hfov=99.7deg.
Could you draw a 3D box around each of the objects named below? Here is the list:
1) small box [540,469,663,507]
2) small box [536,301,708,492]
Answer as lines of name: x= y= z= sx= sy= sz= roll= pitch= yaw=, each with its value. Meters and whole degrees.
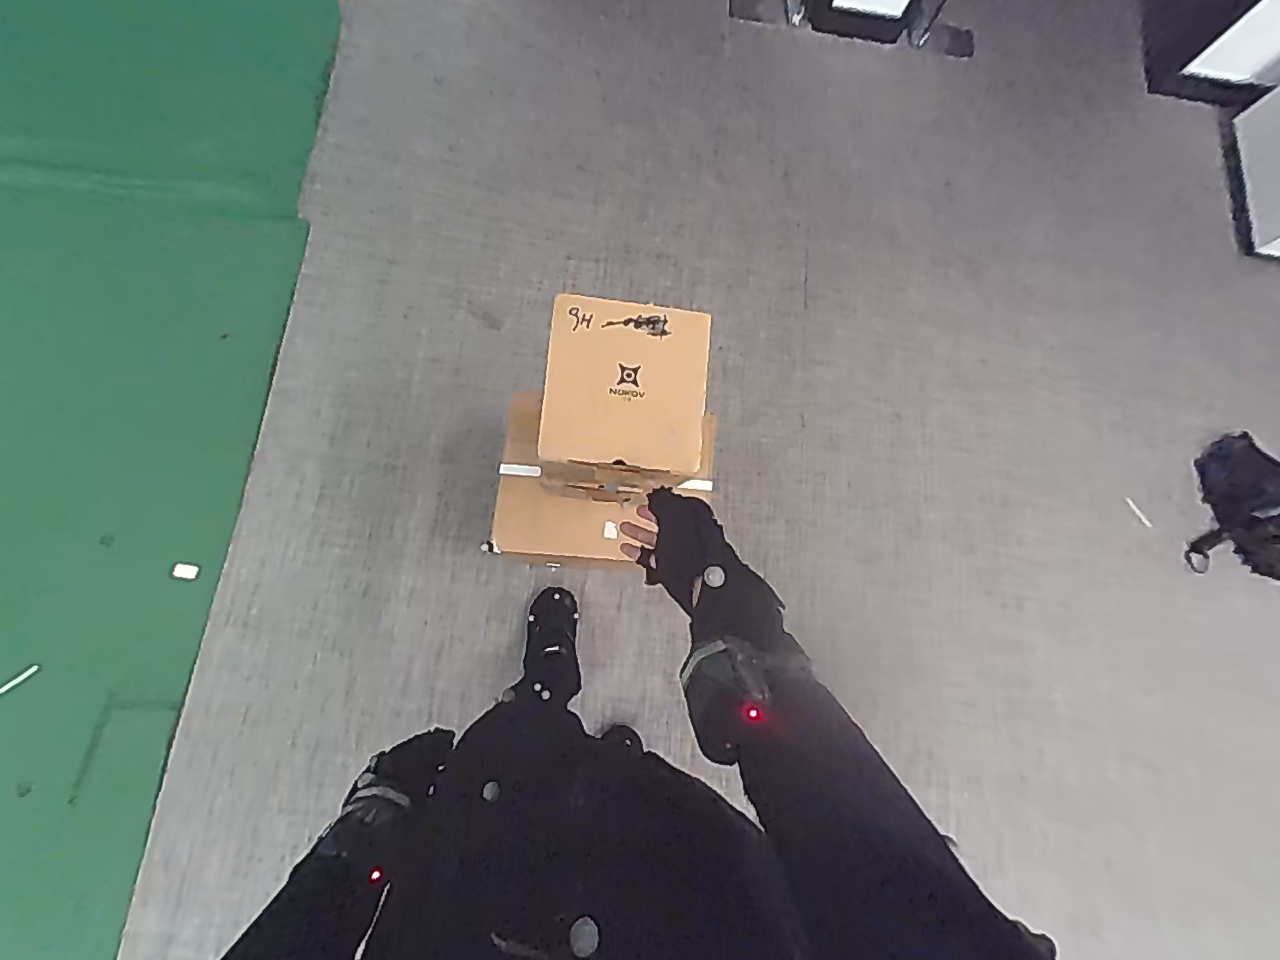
small box: x=-0.051 y=-0.057 z=0.795 sx=0.168 sy=0.176 sz=0.179 roll=5 pitch=81 yaw=-7
small box: x=-0.024 y=-0.083 z=0.636 sx=0.168 sy=0.176 sz=0.179 roll=6 pitch=83 yaw=-6
